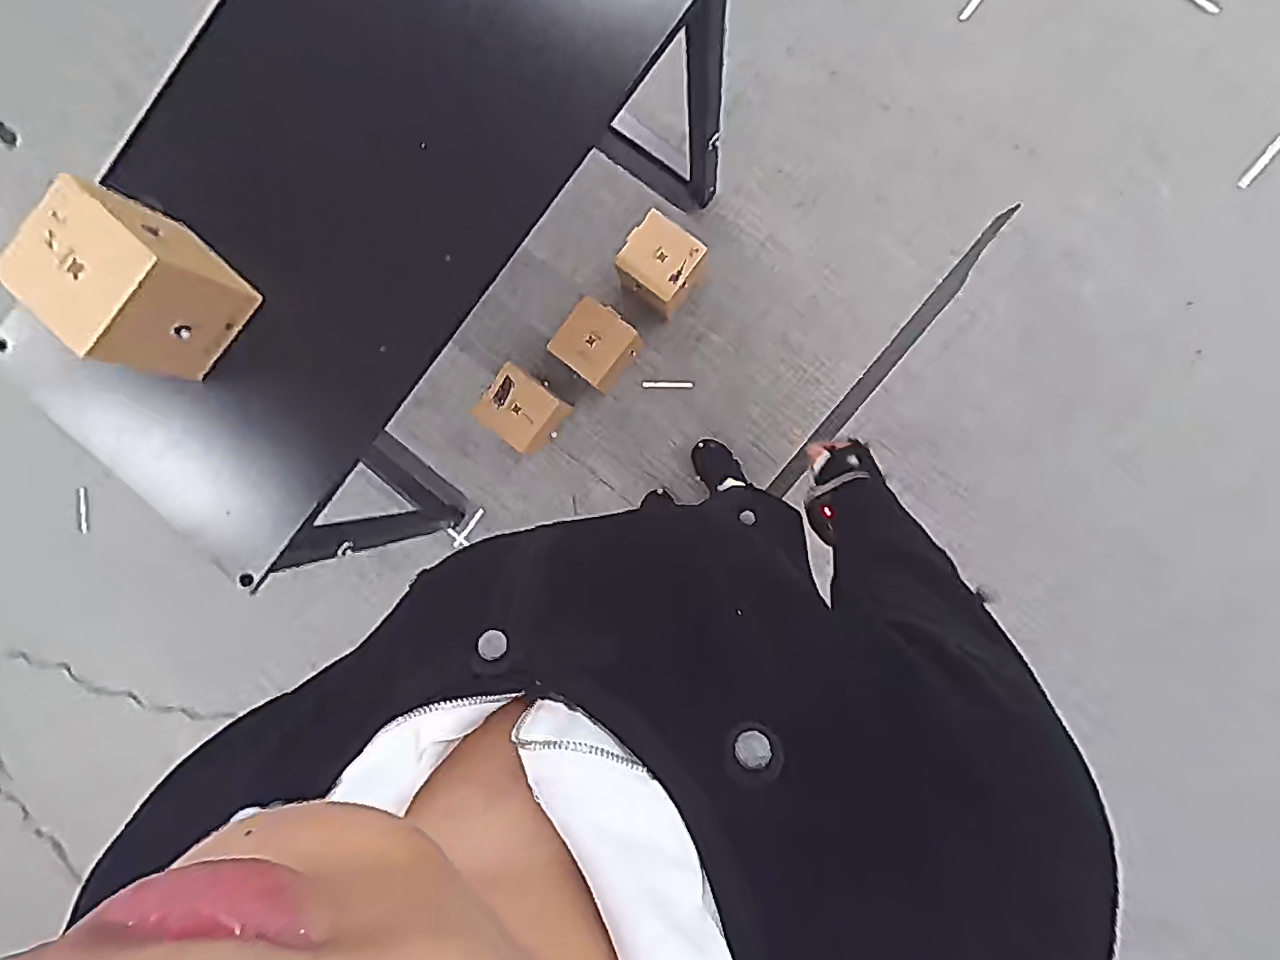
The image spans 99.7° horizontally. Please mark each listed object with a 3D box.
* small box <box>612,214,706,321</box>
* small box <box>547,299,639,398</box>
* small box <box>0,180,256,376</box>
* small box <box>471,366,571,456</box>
[{"bbox_3d":[0.053,-0.542,1.408,0.179,0.176,0.168,38,95,5],"label":"small box"},{"bbox_3d":[-0.115,-0.341,1.431,0.168,0.176,0.179,39,95,5],"label":"small box"},{"bbox_3d":[-0.702,-0.265,0.759,0.179,0.176,0.168,42,94,4],"label":"small box"},{"bbox_3d":[-0.312,-0.175,1.452,0.179,0.176,0.168,38,94,3],"label":"small box"}]
